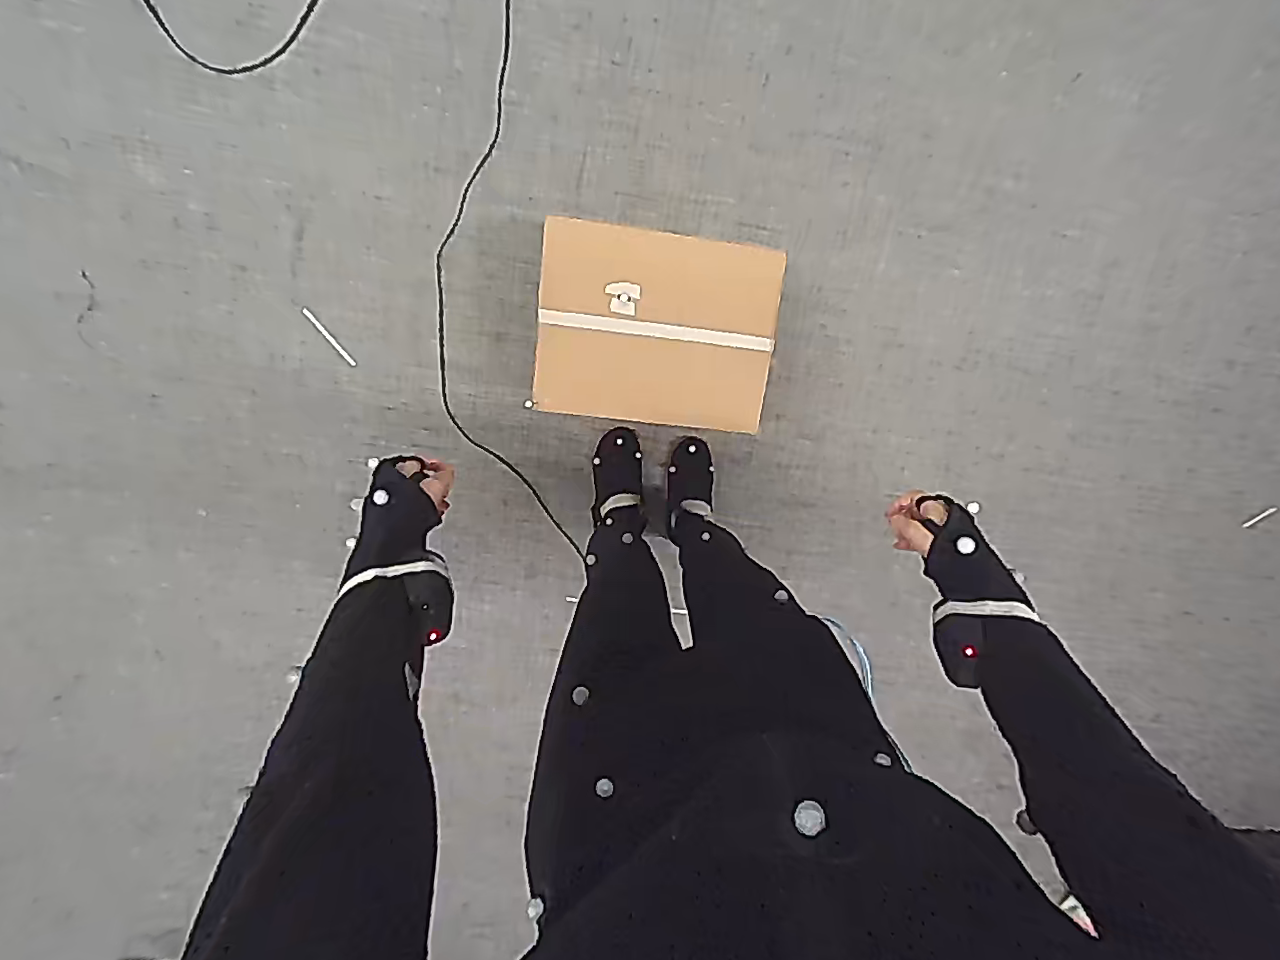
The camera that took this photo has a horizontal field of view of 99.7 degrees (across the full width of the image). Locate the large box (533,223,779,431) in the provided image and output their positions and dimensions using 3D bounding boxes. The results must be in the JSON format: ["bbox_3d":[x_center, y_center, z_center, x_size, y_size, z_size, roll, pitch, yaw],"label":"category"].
[{"bbox_3d":[0.014,-0.288,1.064,0.408,0.320,0.320,5,103,-7],"label":"large box"}]
